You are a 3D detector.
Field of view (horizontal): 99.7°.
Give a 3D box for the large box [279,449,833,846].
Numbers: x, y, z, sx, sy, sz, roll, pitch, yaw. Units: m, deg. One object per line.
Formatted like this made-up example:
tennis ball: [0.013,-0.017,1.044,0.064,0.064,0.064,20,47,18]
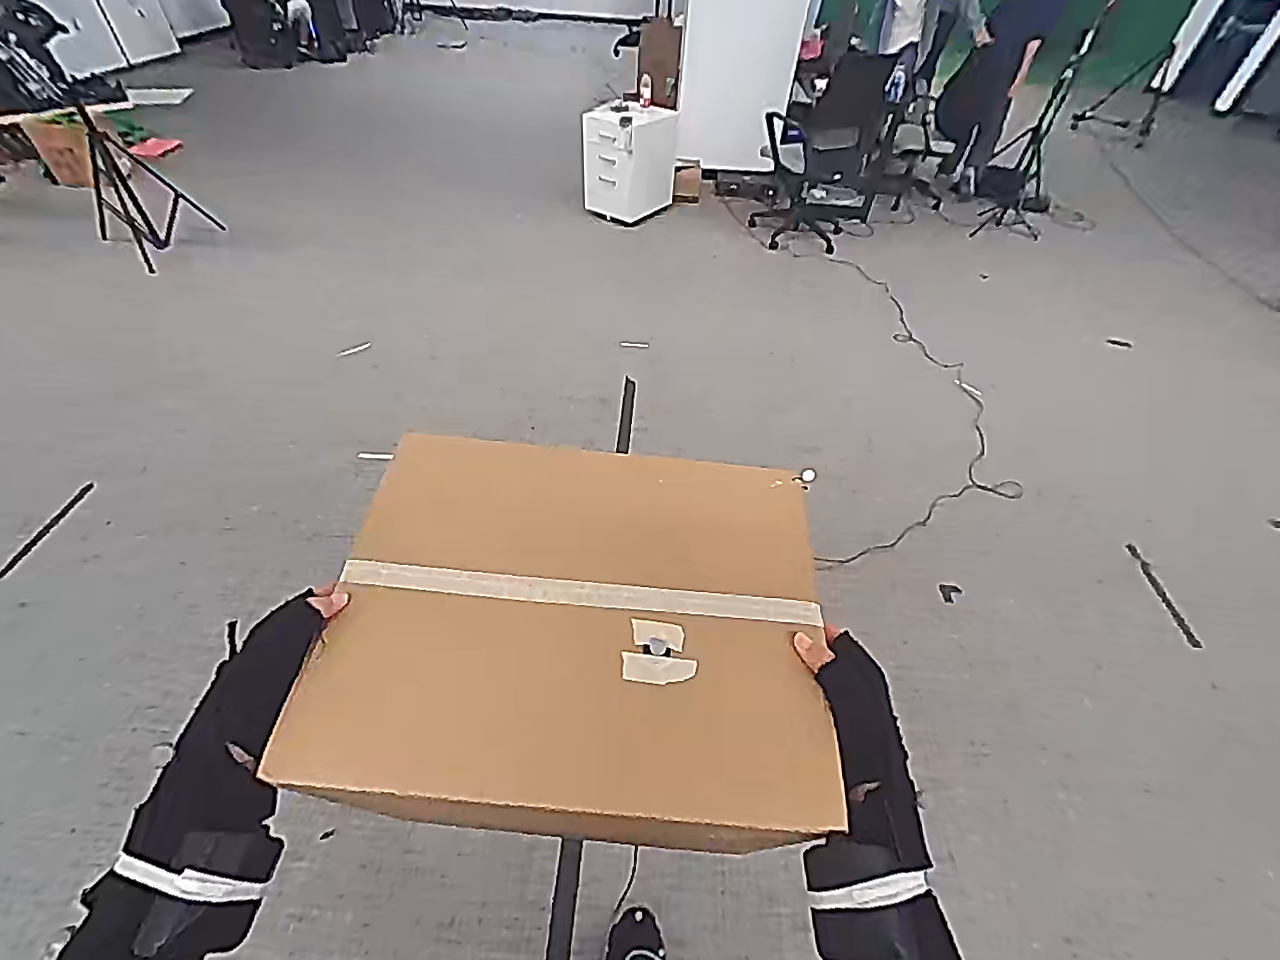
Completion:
large box: [-0.061,0.194,0.588,0.408,0.320,0.320,6,54,-1]
